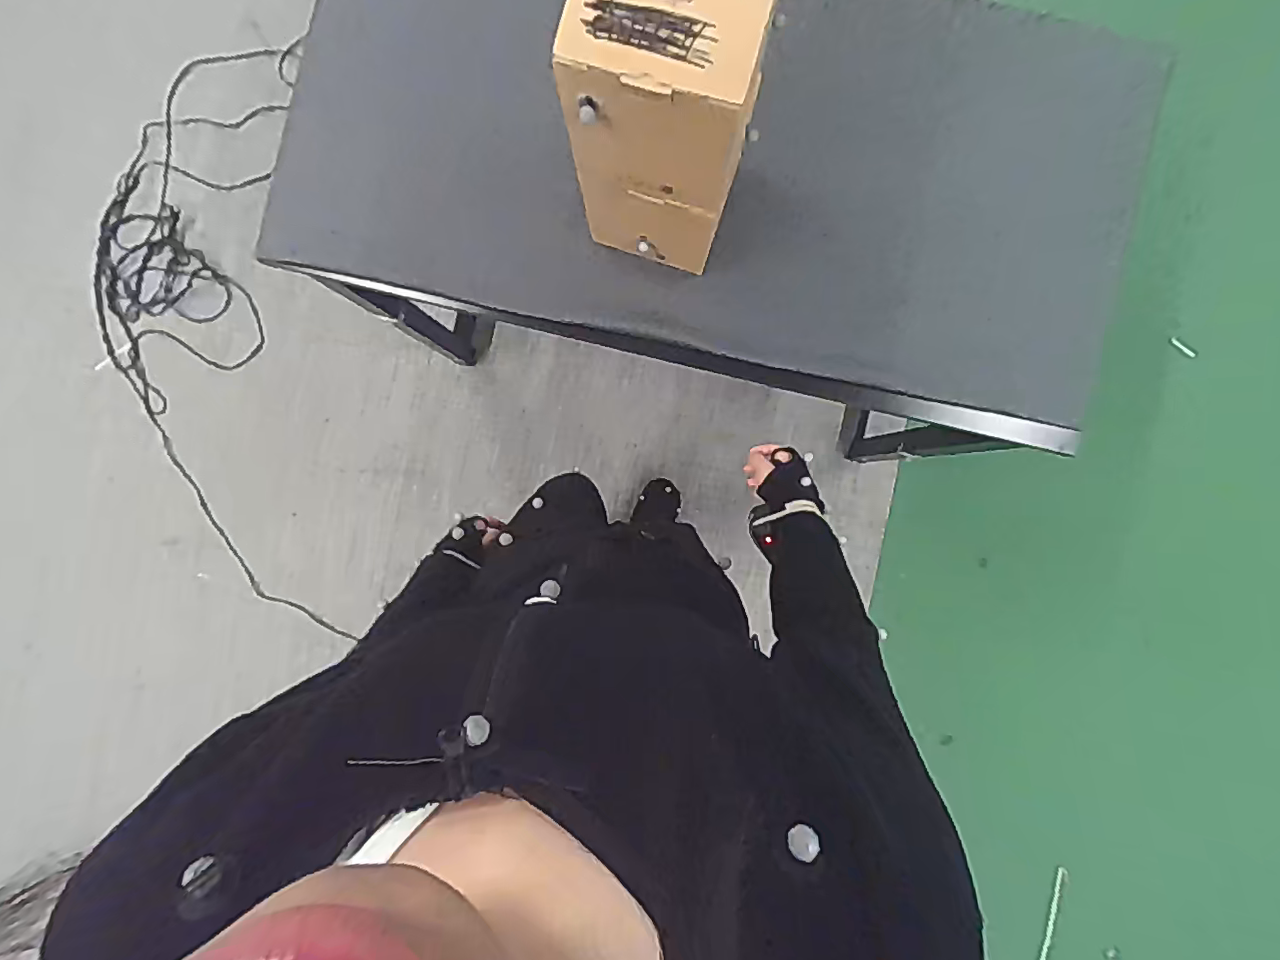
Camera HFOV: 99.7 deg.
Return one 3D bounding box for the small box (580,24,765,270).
[{"bbox_3d":[0.037,-0.398,0.676,0.168,0.176,0.179,19,89,2],"label":"small box"}]
